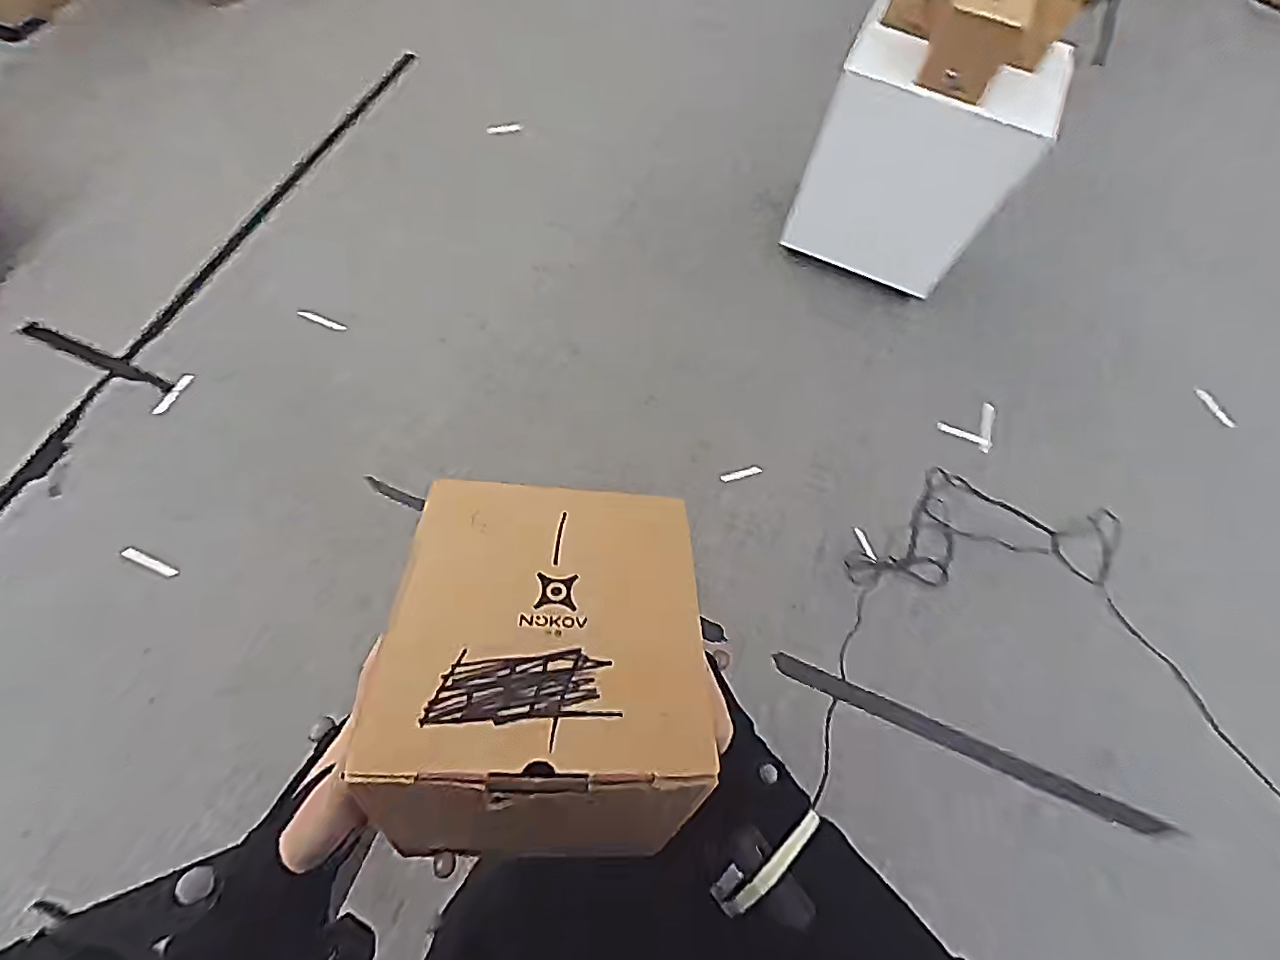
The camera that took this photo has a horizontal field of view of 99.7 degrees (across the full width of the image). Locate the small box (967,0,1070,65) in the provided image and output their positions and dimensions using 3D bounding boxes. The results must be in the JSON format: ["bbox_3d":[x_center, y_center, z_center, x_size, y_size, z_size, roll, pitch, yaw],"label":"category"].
[{"bbox_3d":[0.936,-1.164,1.319,0.168,0.176,0.179,23,70,6],"label":"small box"}]

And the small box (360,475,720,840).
[{"bbox_3d":[-0.055,0.121,0.356,0.168,0.176,0.179,5,45,-8],"label":"small box"}]

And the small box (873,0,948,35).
[{"bbox_3d":[0.704,-1.259,1.340,0.168,0.176,0.179,24,71,5],"label":"small box"}]
